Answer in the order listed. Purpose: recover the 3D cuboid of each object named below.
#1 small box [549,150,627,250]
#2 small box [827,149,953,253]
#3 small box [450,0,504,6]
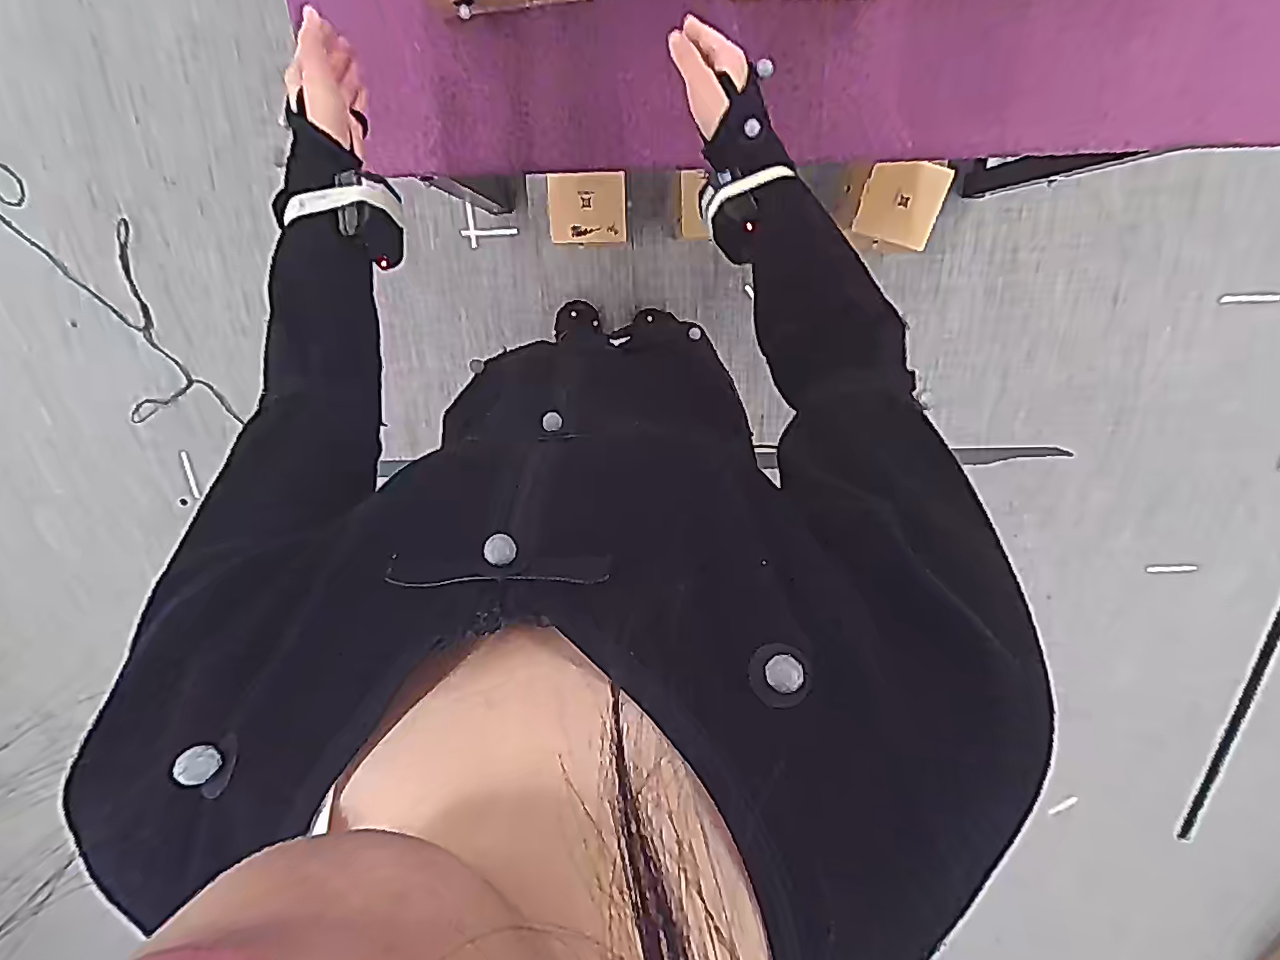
[{"bbox_3d":[-0.113,-0.625,1.223,0.168,0.176,0.179,0,109,-1],"label":"small box"},{"bbox_3d":[0.560,-0.630,1.239,0.179,0.176,0.168,14,110,-5],"label":"small box"},{"bbox_3d":[-0.136,-0.554,0.468,0.168,0.176,0.179,-7,109,1],"label":"small box"}]
